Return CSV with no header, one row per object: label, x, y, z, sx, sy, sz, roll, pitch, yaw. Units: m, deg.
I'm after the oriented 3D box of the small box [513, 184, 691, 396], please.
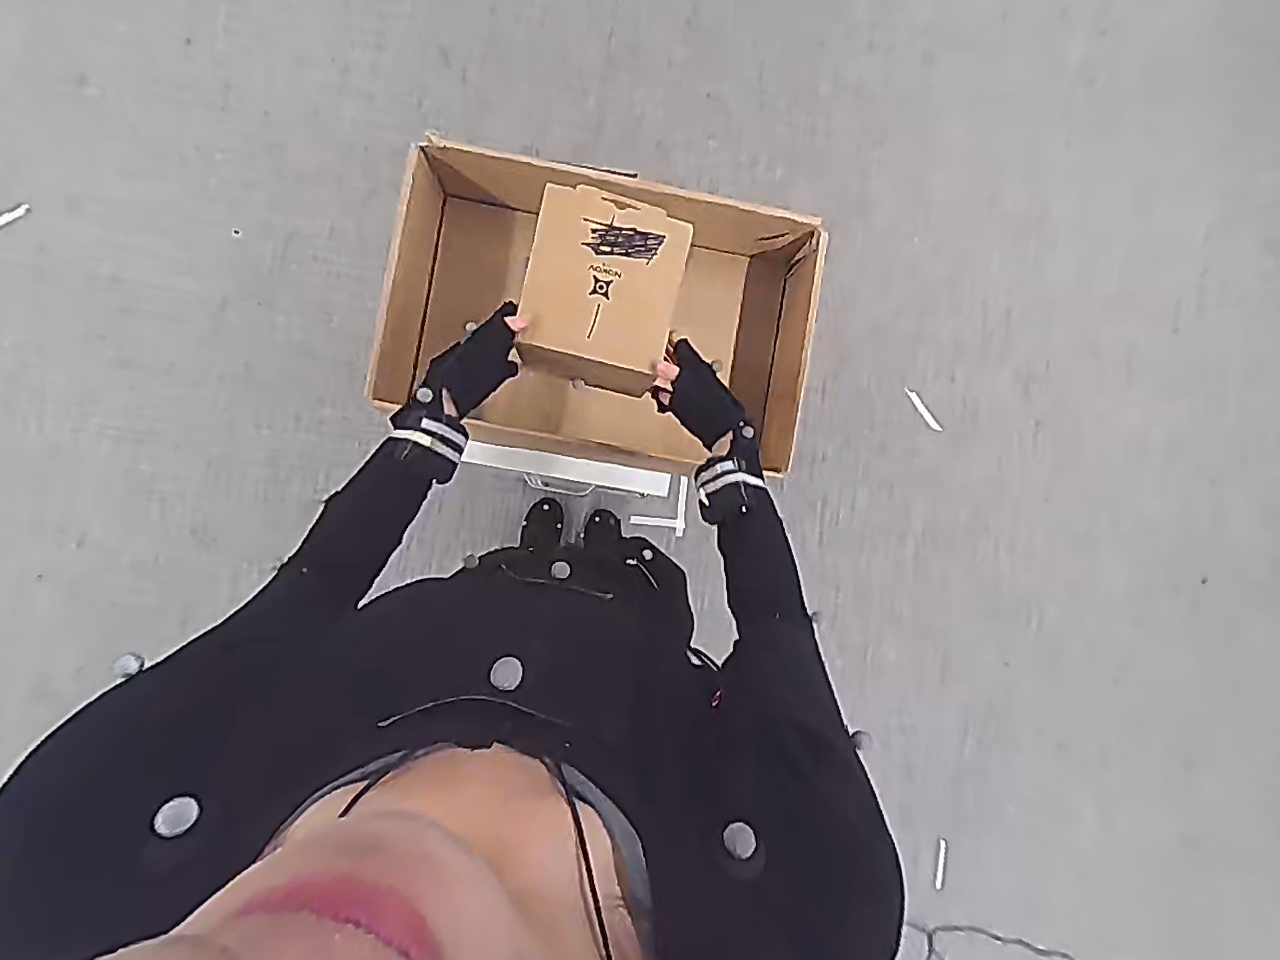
small box,-0.050,-0.218,0.669,0.168,0.176,0.179,13,88,-7
